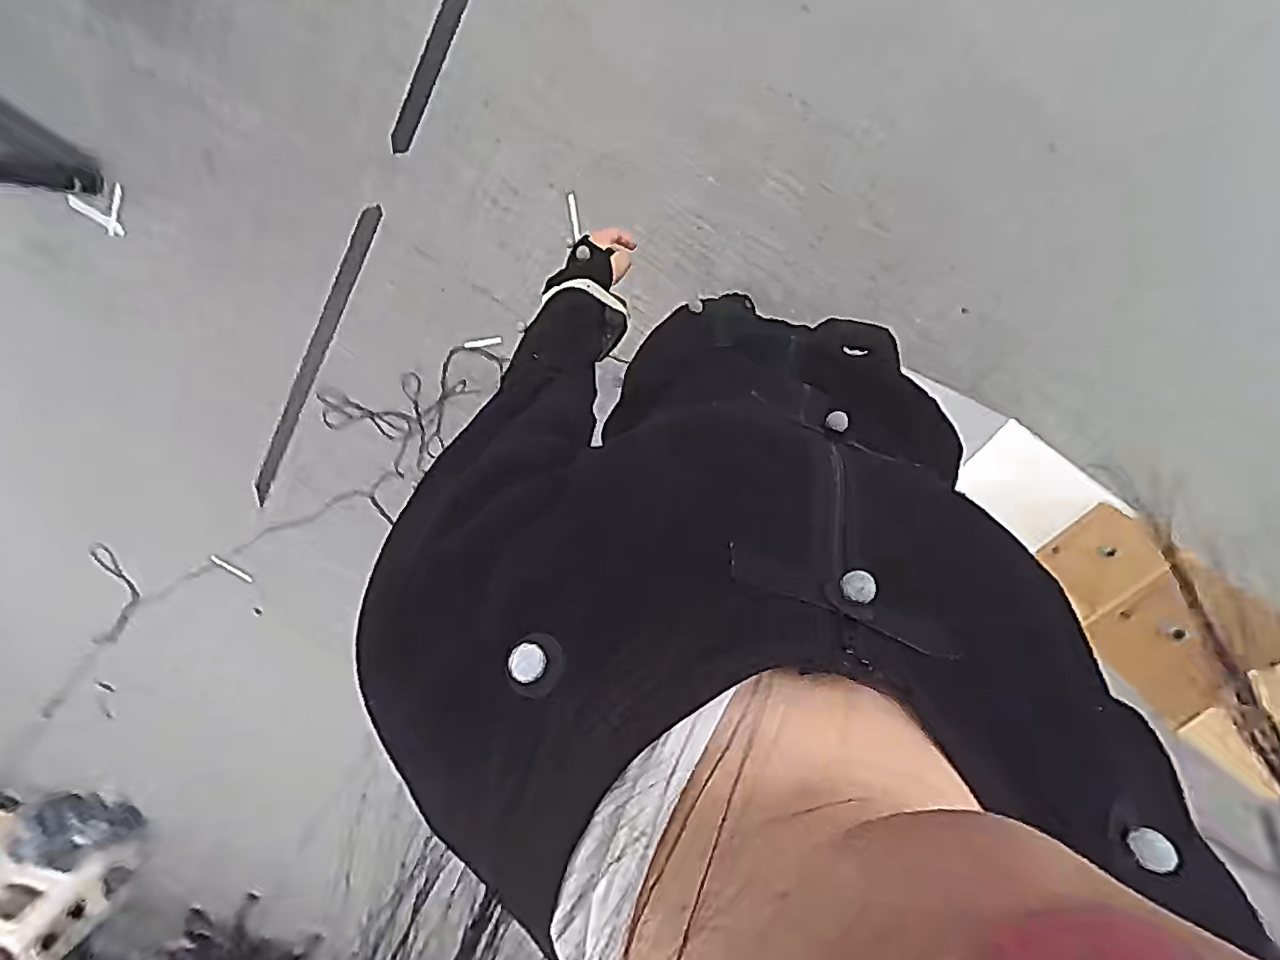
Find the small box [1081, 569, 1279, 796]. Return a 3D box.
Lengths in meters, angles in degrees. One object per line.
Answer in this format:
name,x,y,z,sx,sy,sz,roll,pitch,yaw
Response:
small box,0.717,0.236,0.672,0.179,0.176,0.168,37,111,-8

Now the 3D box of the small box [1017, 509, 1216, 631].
small box,0.731,0.166,0.820,0.179,0.176,0.168,37,111,-9
